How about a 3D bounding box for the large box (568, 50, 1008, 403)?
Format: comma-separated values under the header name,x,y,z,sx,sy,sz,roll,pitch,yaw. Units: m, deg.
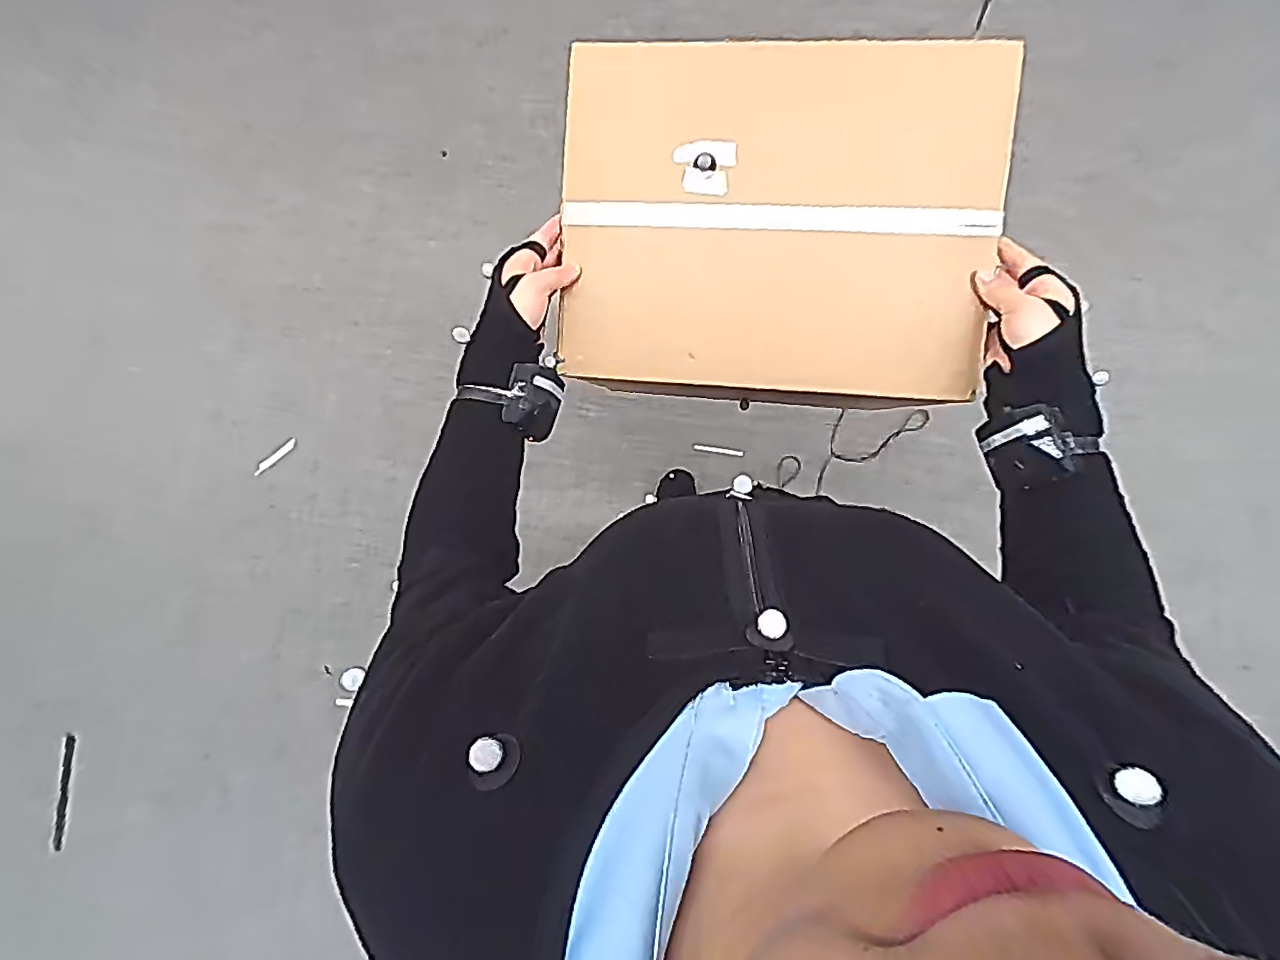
name,x,y,z,sx,sy,sz,roll,pitch,yaw
large box,0.149,-0.261,0.671,0.408,0.320,0.320,4,95,7
